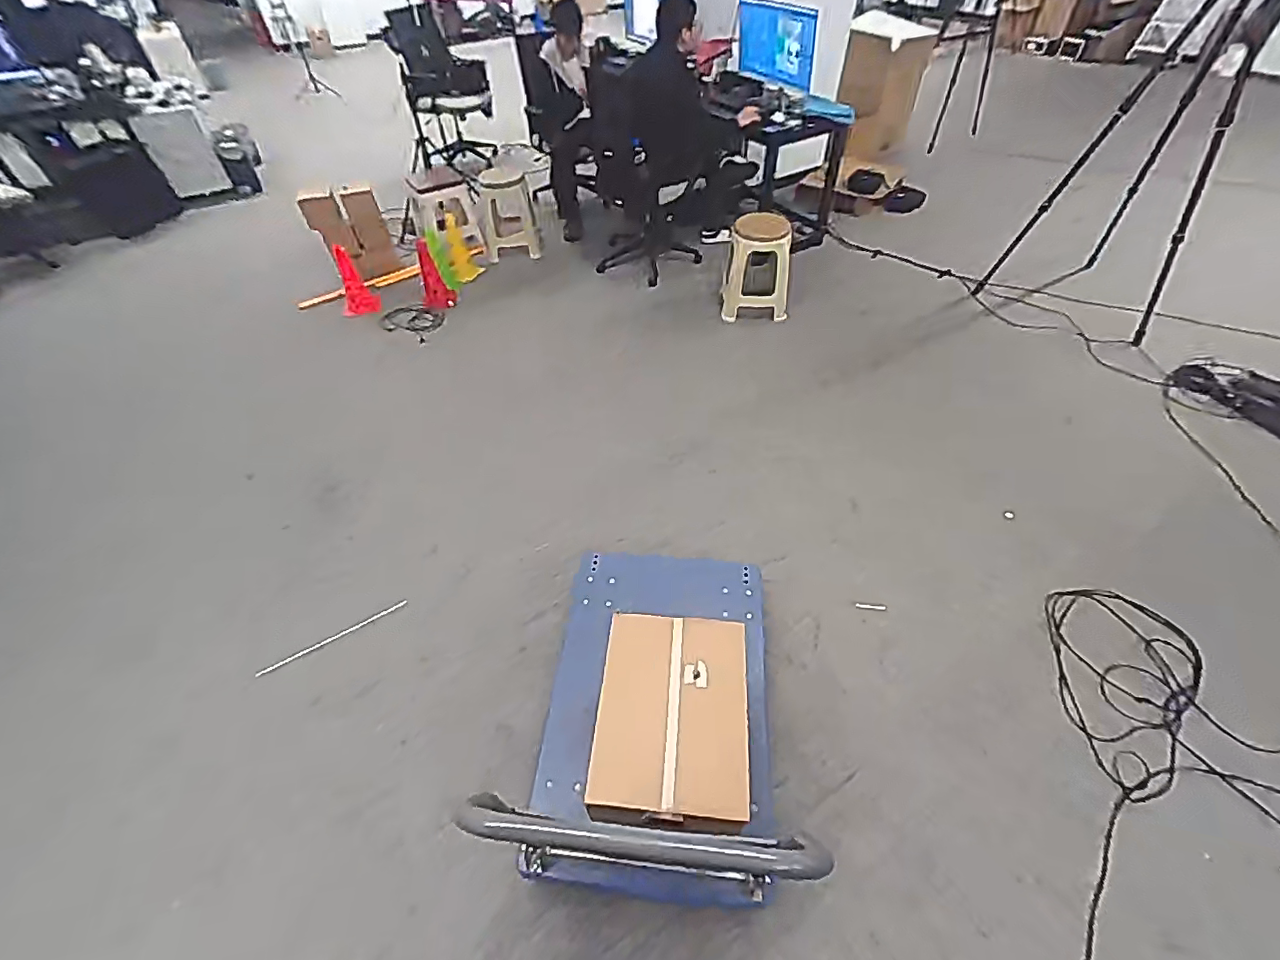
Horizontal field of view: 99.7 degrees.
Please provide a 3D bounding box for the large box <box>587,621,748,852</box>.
[{"bbox_3d":[0.071,0.595,1.263,0.320,0.320,0.408,4,47,4],"label":"large box"}]
